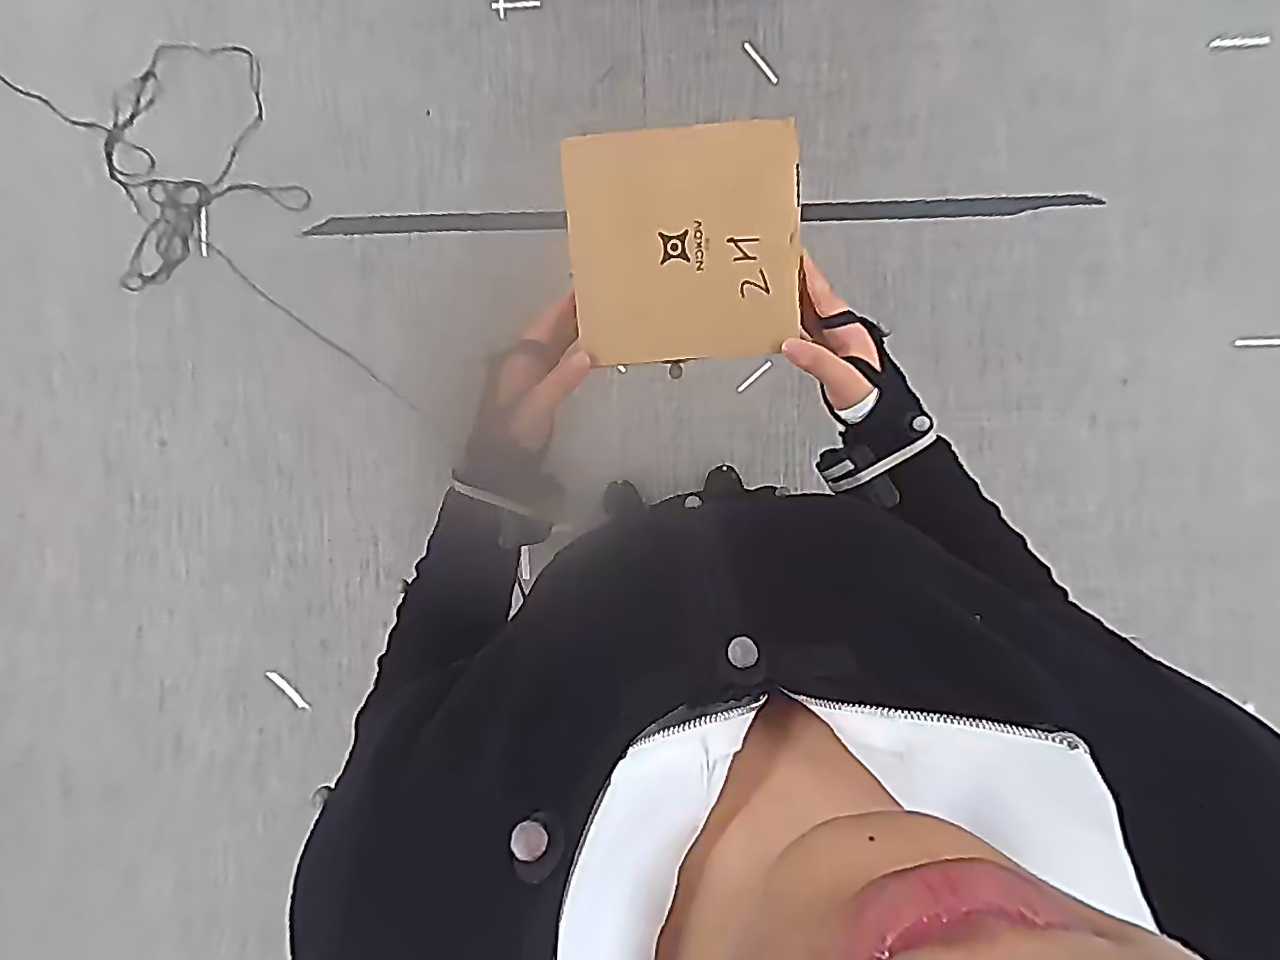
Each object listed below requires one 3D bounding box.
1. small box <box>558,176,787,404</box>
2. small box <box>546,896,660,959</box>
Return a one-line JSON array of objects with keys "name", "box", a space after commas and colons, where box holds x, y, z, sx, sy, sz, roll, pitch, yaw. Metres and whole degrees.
[{"name": "small box", "box": [0.029, -0.162, 0.502, 0.179, 0.176, 0.168, -4, 103, 1]}, {"name": "small box", "box": [-0.060, 0.777, 0.804, 0.168, 0.176, 0.179, 5, 89, 3]}]
